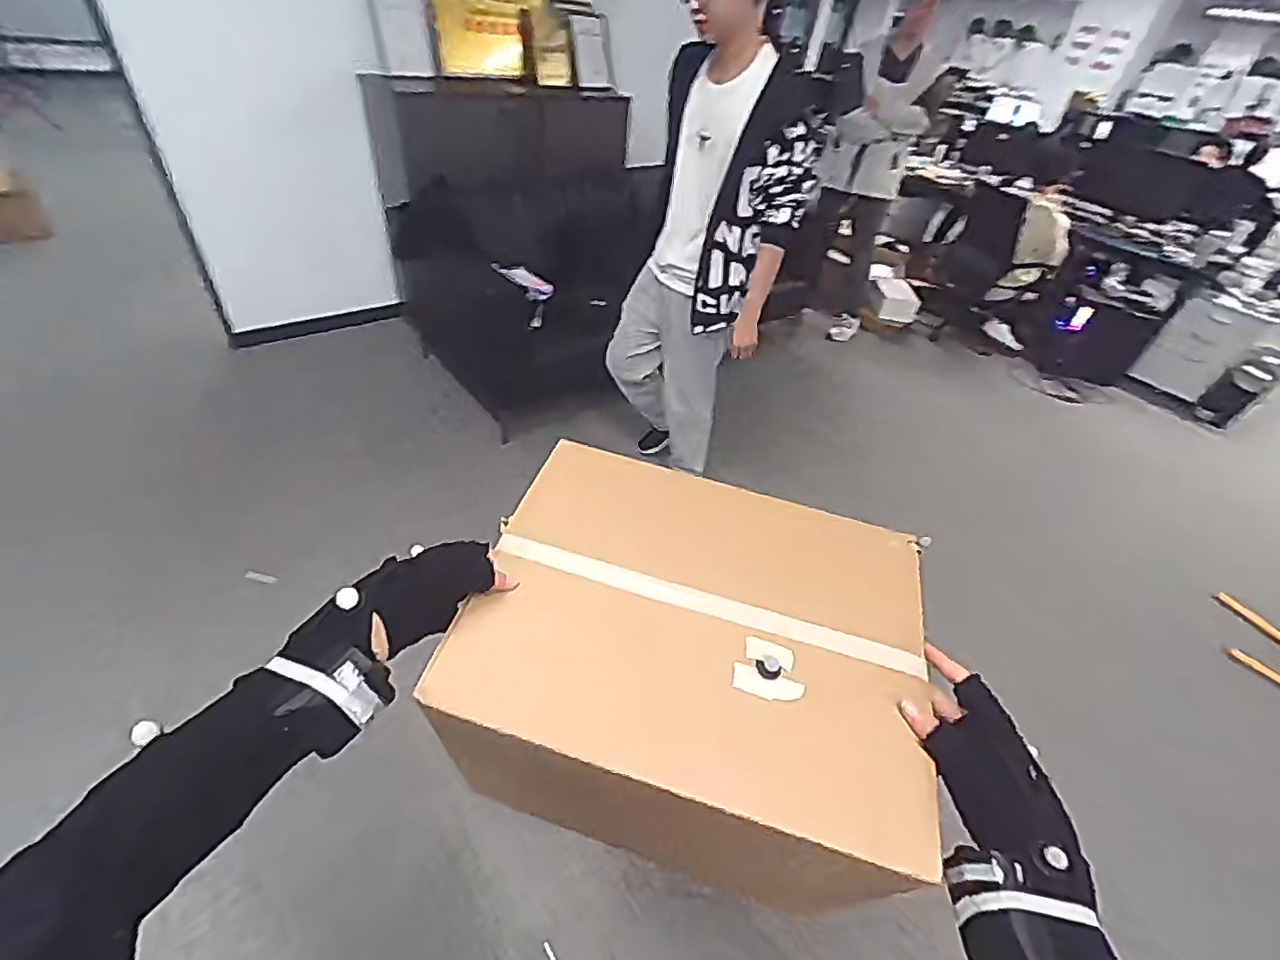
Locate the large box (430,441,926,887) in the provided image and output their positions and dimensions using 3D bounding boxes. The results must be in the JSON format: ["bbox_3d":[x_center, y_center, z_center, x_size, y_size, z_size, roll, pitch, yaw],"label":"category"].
[{"bbox_3d":[0.040,0.207,0.621,0.408,0.320,0.320,16,49,6],"label":"large box"}]
